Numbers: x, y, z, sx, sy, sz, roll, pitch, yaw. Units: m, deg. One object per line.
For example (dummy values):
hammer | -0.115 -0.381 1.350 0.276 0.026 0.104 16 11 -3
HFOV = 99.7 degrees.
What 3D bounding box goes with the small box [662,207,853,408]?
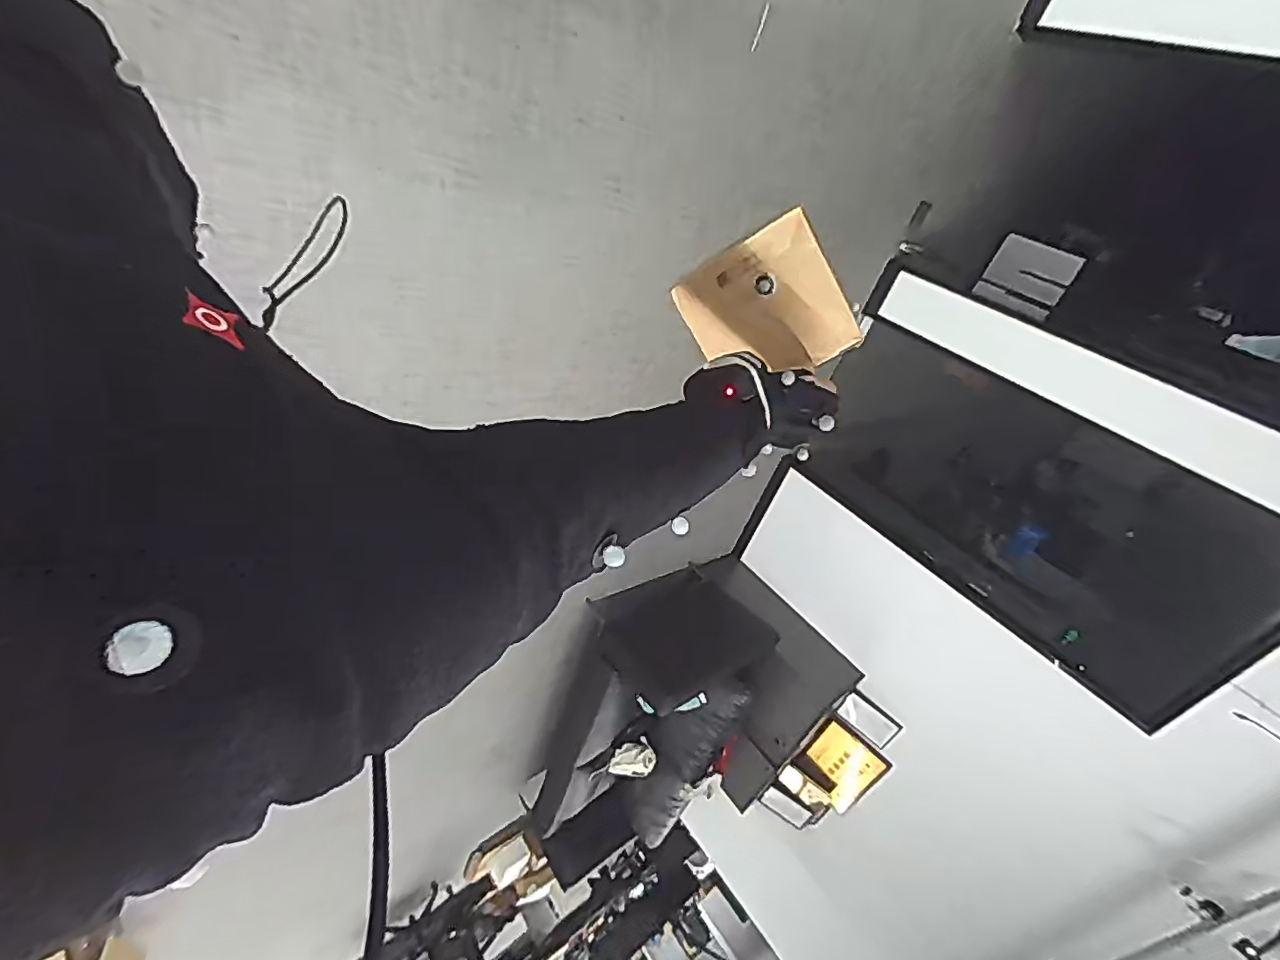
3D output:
small box | 0.141 -0.224 0.687 0.168 0.179 0.176 -27 109 18
